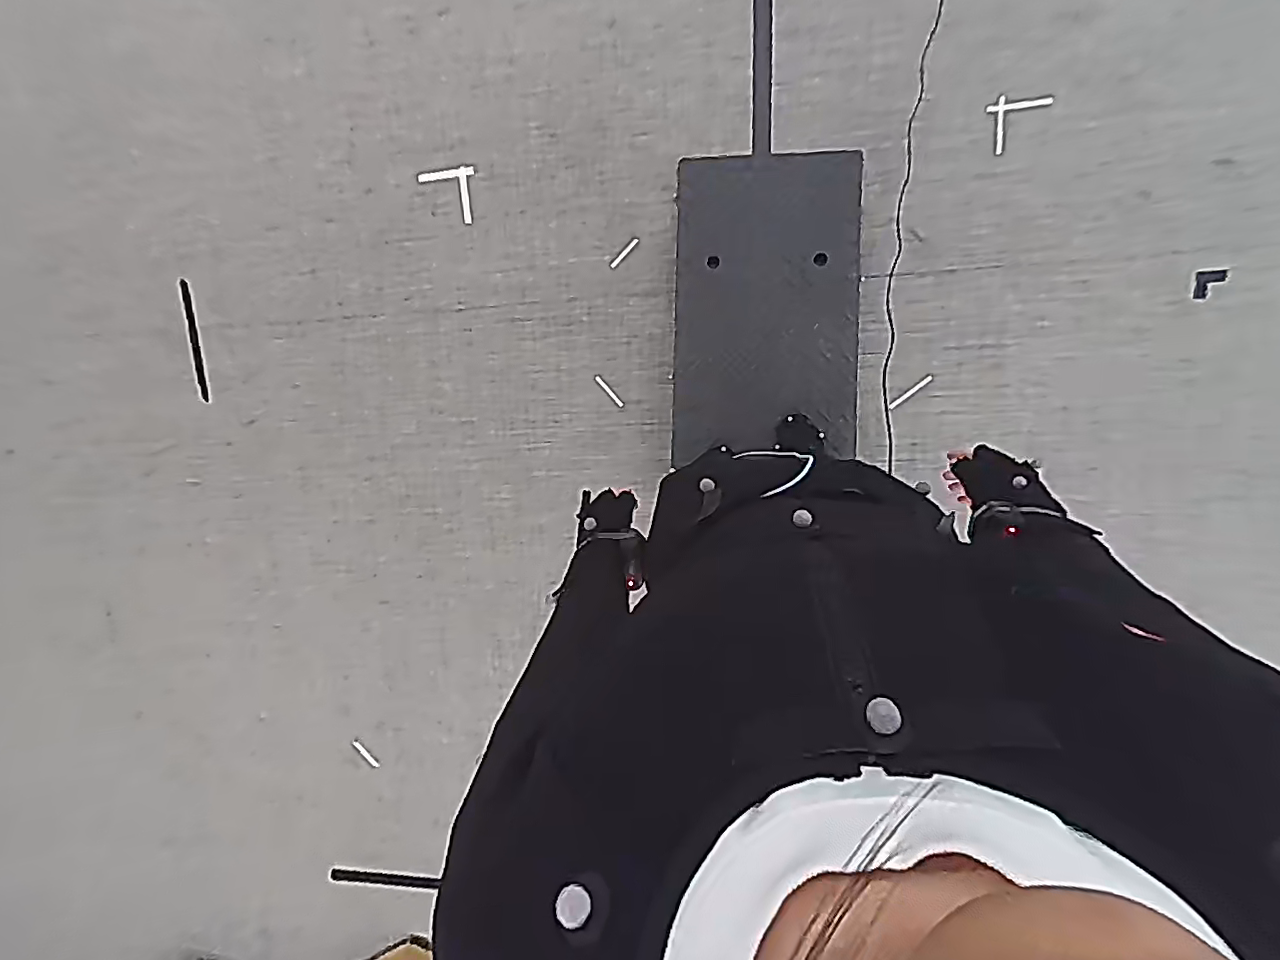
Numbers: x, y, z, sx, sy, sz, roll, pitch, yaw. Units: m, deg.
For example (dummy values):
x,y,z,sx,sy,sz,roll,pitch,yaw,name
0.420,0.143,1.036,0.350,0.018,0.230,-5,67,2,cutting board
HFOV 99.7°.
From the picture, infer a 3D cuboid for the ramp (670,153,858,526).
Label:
x,y,z,sx,sy,sz,roll,pitch,yaw,name
0.331,-0.380,1.466,0.509,0.206,0.991,0,99,9,ramp
